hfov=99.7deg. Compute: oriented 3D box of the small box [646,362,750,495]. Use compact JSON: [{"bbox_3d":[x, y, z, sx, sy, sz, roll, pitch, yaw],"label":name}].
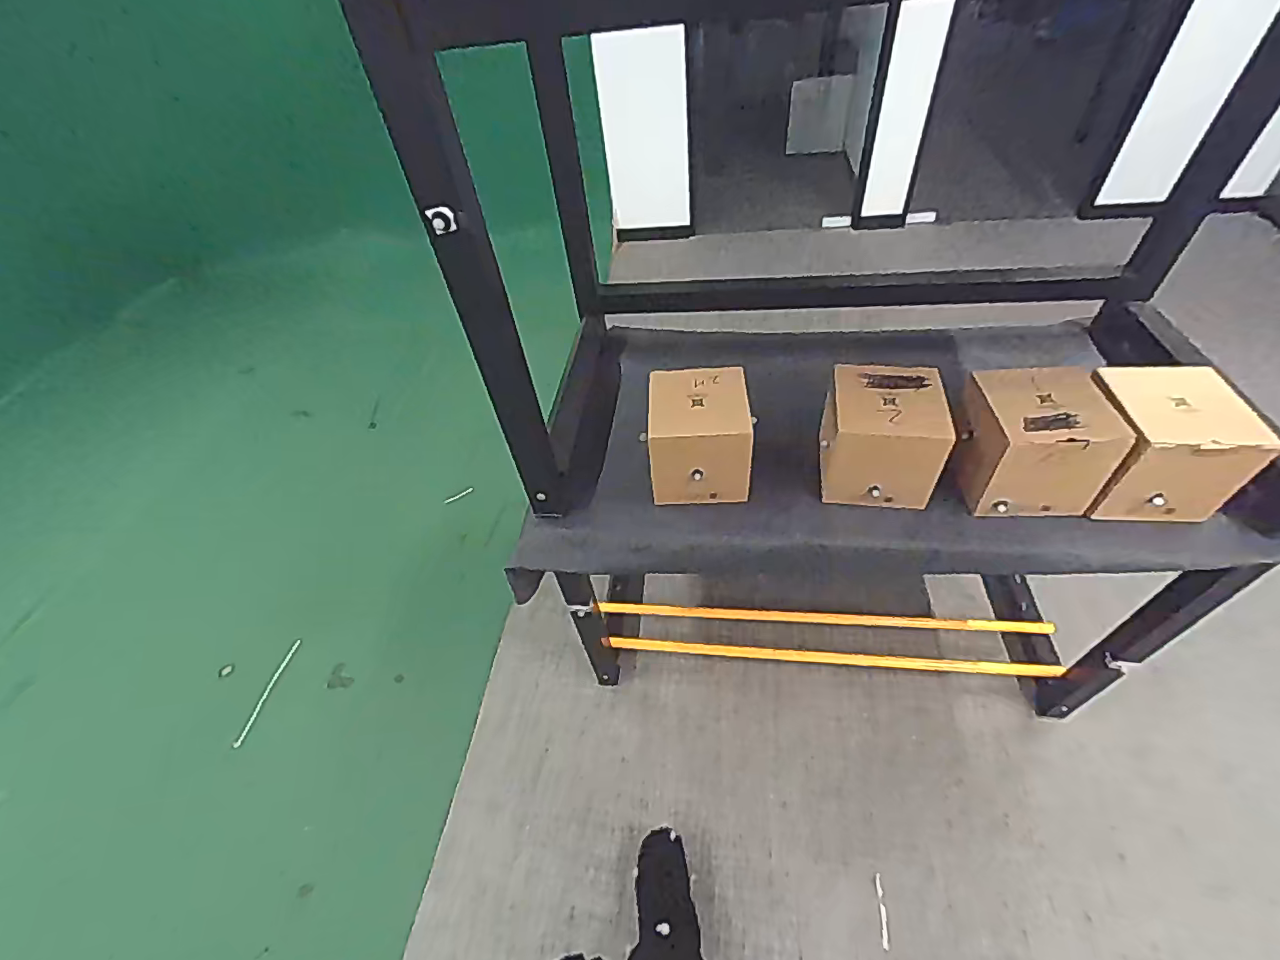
[{"bbox_3d":[0.102,-0.085,0.954,0.168,0.176,0.179,-2,47,5],"label":"small box"}]
